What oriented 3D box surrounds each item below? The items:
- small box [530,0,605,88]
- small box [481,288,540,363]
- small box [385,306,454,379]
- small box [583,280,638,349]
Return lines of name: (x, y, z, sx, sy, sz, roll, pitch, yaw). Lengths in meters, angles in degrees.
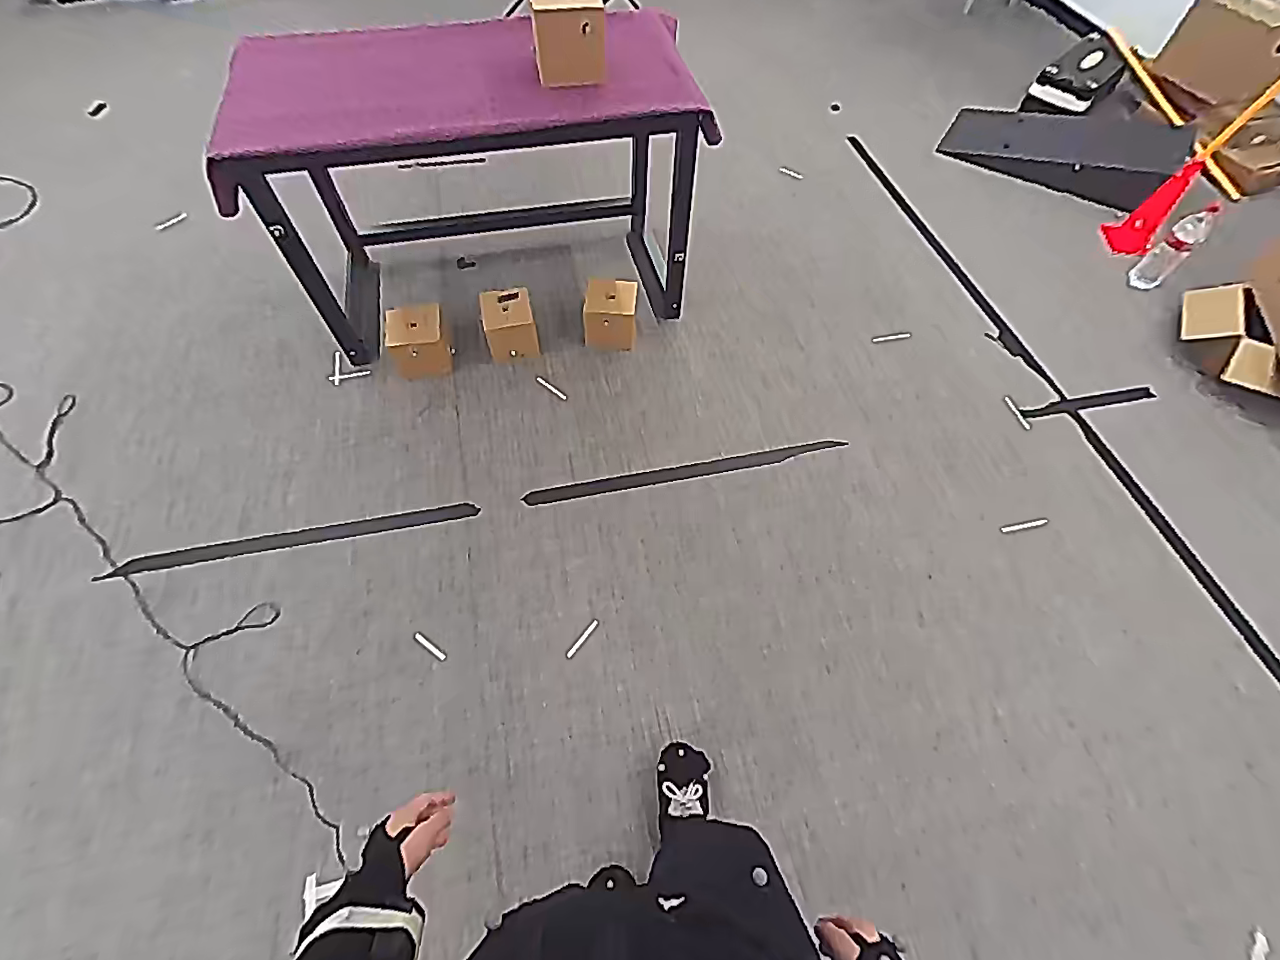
small box: (-0.186, -1.157, 1.408, 0.179, 0.176, 0.168, -9, 60, -6)
small box: (-0.450, -0.534, 1.883, 0.168, 0.176, 0.179, -12, 62, -8)
small box: (-0.743, -0.462, 1.836, 0.179, 0.176, 0.168, -8, 61, -7)
small box: (-0.099, -0.586, 1.923, 0.179, 0.176, 0.168, 3, 60, 2)
